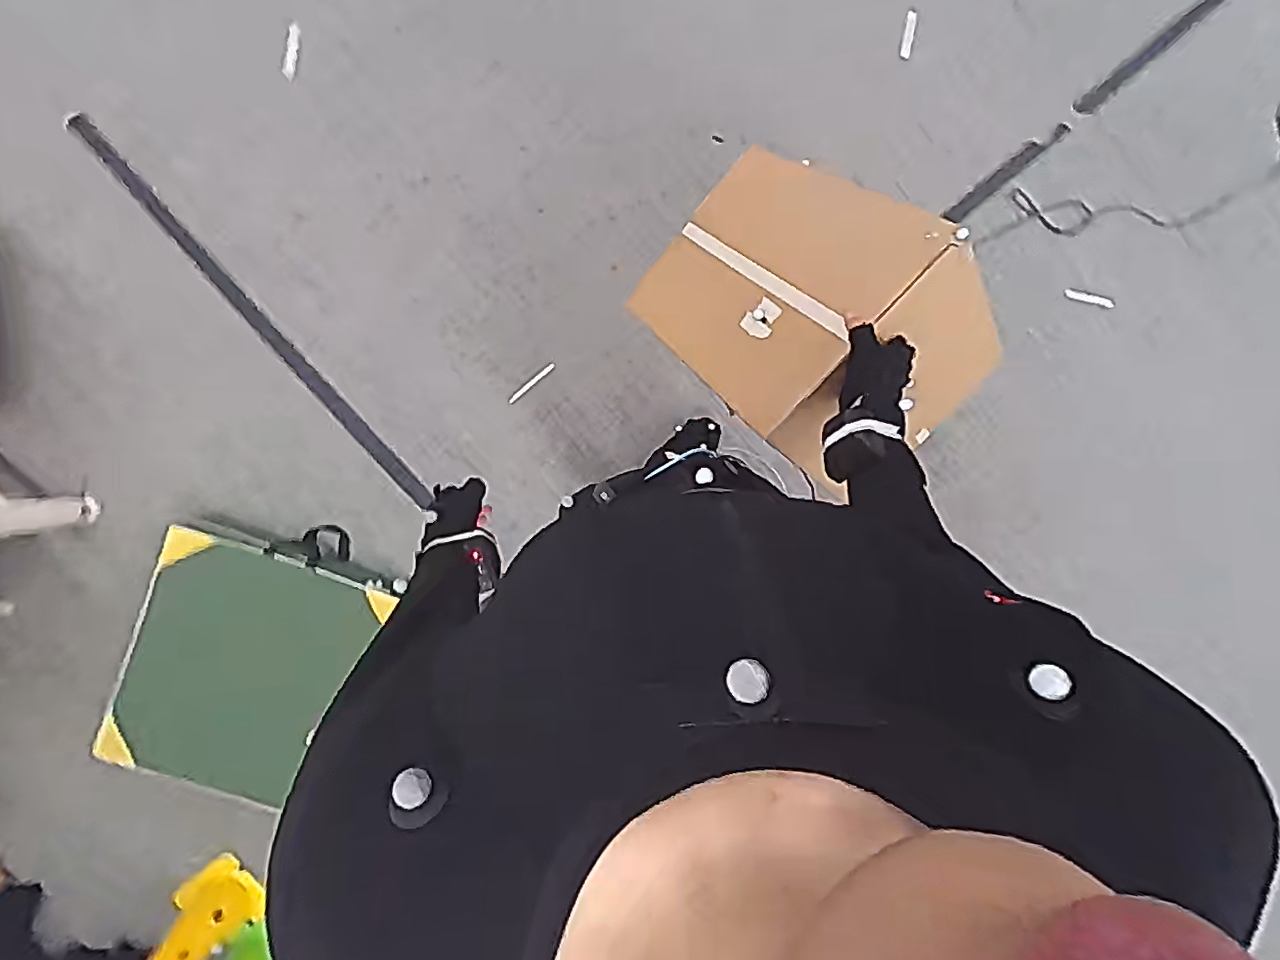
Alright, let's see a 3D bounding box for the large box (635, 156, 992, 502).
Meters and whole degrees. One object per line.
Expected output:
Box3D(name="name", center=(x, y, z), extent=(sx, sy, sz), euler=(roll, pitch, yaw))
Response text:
Box3D(name="large box", center=(0.266, -0.237, 0.873), extent=(0.320, 0.408, 0.320), euler=(-46, 139, 14))
